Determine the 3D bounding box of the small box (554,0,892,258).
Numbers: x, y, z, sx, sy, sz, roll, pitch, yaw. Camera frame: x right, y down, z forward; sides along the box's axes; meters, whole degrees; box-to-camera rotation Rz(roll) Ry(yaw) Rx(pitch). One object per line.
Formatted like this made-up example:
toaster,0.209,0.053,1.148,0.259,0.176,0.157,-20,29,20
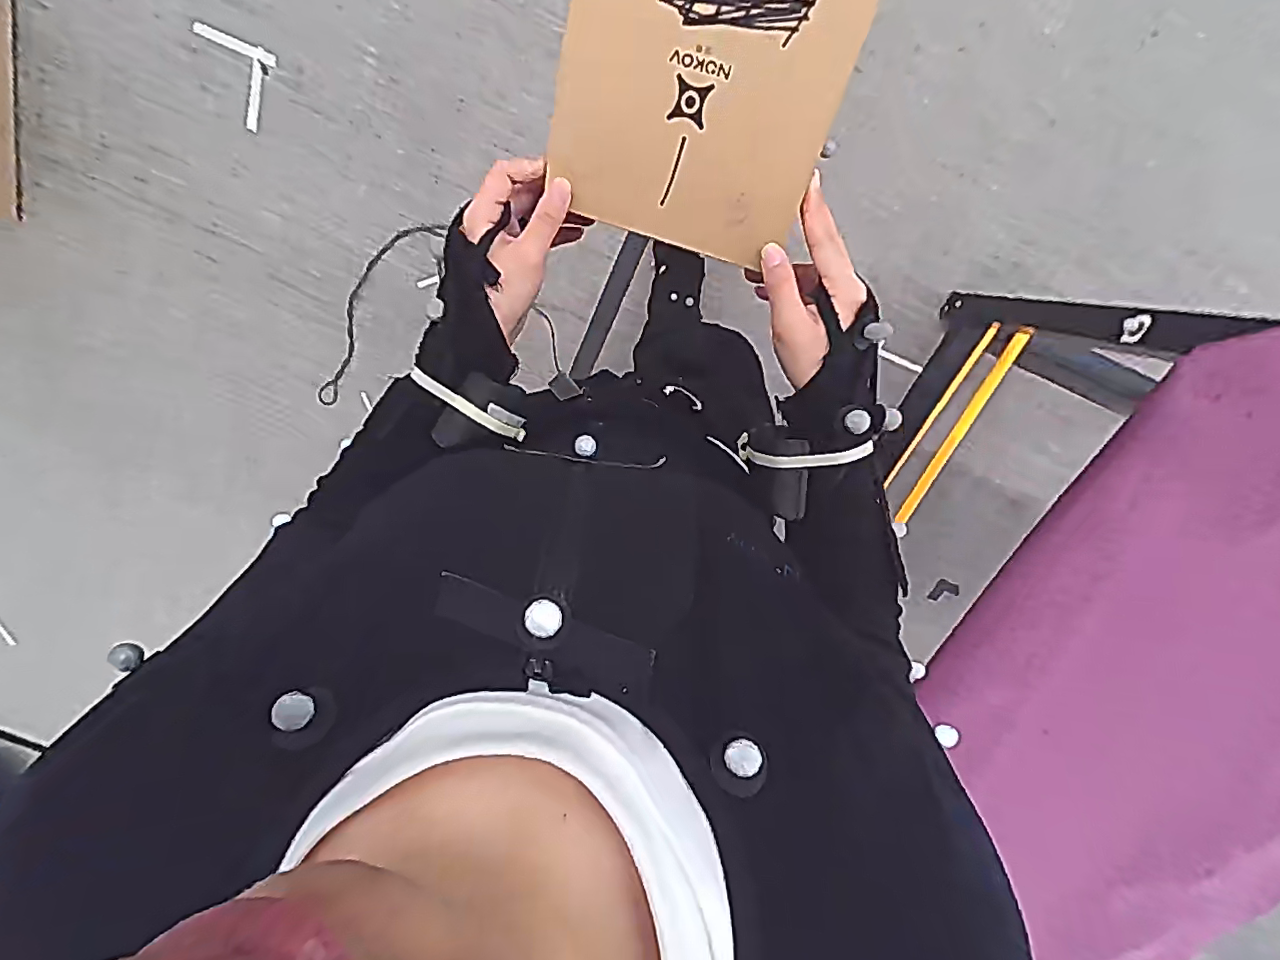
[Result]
small box,0.056,-0.280,0.374,0.168,0.176,0.179,18,124,1
